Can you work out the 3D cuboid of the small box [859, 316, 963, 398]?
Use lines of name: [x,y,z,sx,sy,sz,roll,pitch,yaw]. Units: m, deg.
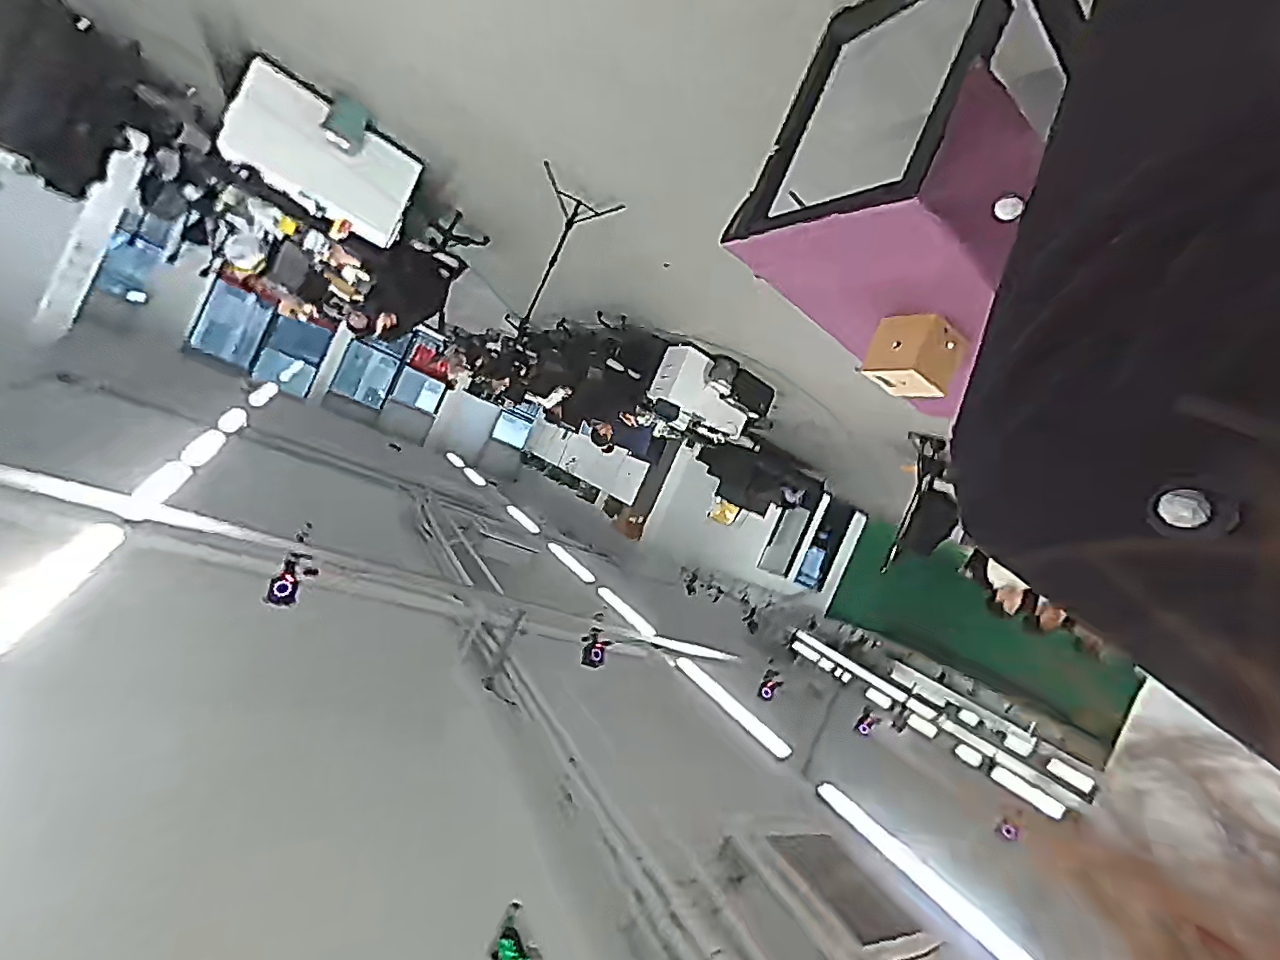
small box: [0.765,-0.345,1.525,0.168,0.176,0.179,24,179,-28]
